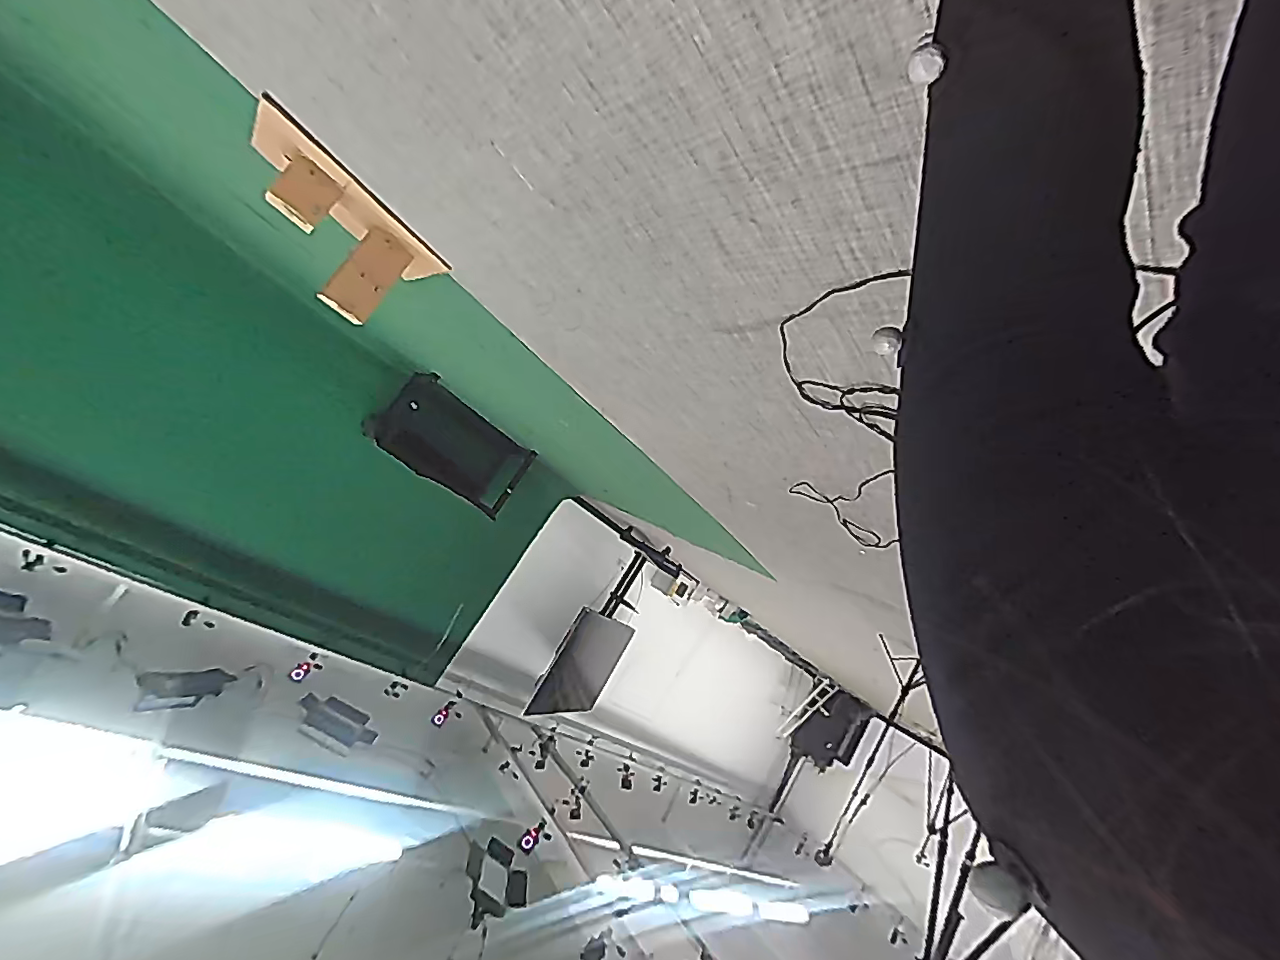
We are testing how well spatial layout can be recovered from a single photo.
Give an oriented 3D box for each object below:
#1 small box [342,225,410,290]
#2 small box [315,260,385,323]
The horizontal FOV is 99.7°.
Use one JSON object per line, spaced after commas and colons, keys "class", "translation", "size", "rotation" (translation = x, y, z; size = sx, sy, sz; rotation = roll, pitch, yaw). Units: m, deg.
{"class": "small box", "translation": [-1.040, -0.871, 2.129], "size": [0.168, 0.176, 0.179], "rotation": [39, 168, -37]}
{"class": "small box", "translation": [-1.125, -0.734, 2.102], "size": [0.179, 0.176, 0.168], "rotation": [21, 166, 50]}
